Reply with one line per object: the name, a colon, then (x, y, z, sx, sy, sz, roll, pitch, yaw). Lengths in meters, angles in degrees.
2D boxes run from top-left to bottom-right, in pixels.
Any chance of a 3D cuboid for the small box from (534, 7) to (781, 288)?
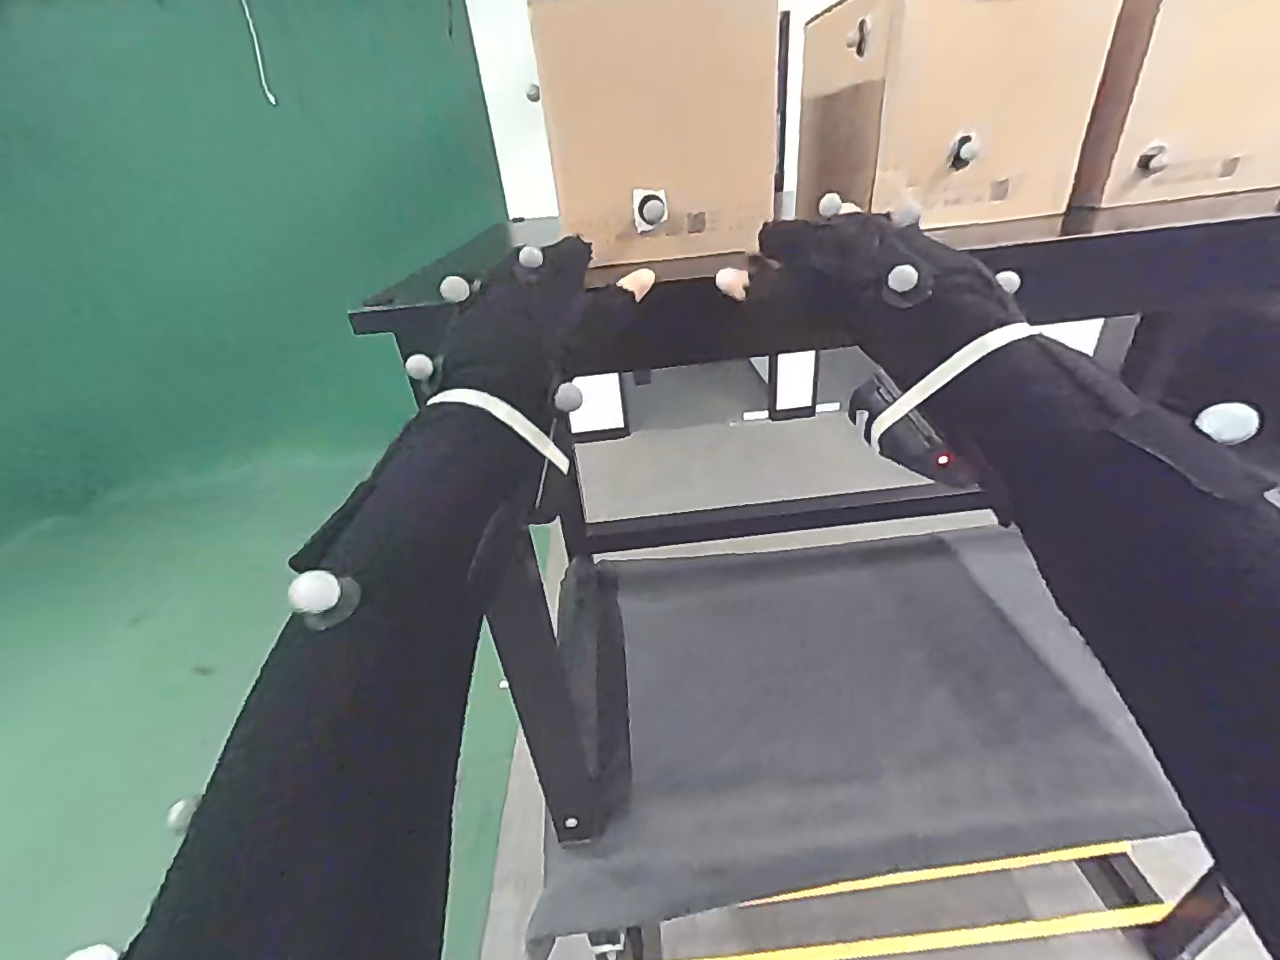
small box: (0.012, -0.271, 0.464, 0.168, 0.176, 0.179, -8, 32, -2)
